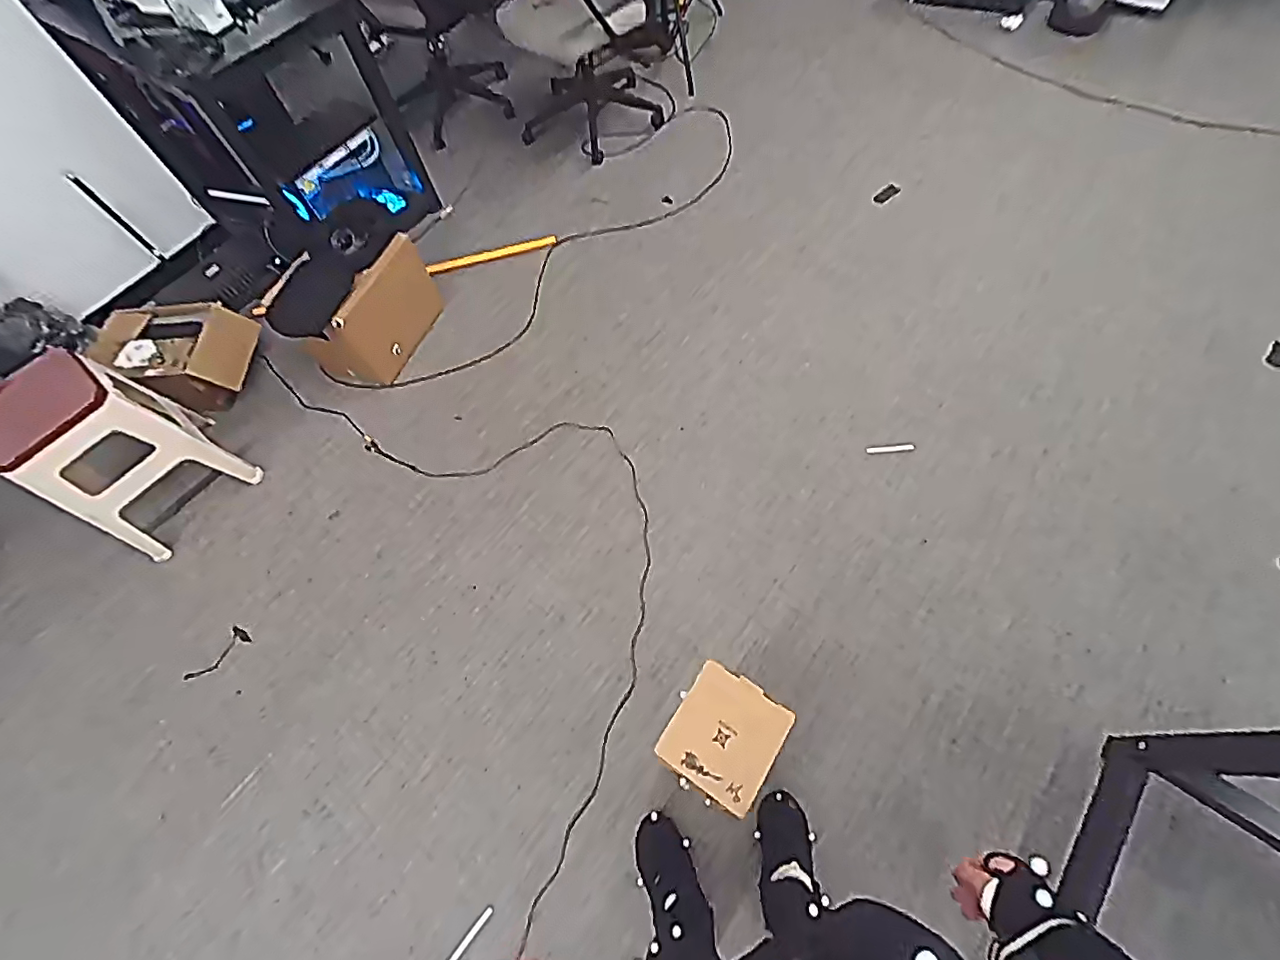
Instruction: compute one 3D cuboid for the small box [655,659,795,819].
[{"bbox_3d":[0.141,0.442,0.931,0.168,0.176,0.179,30,69,20],"label":"small box"}]
